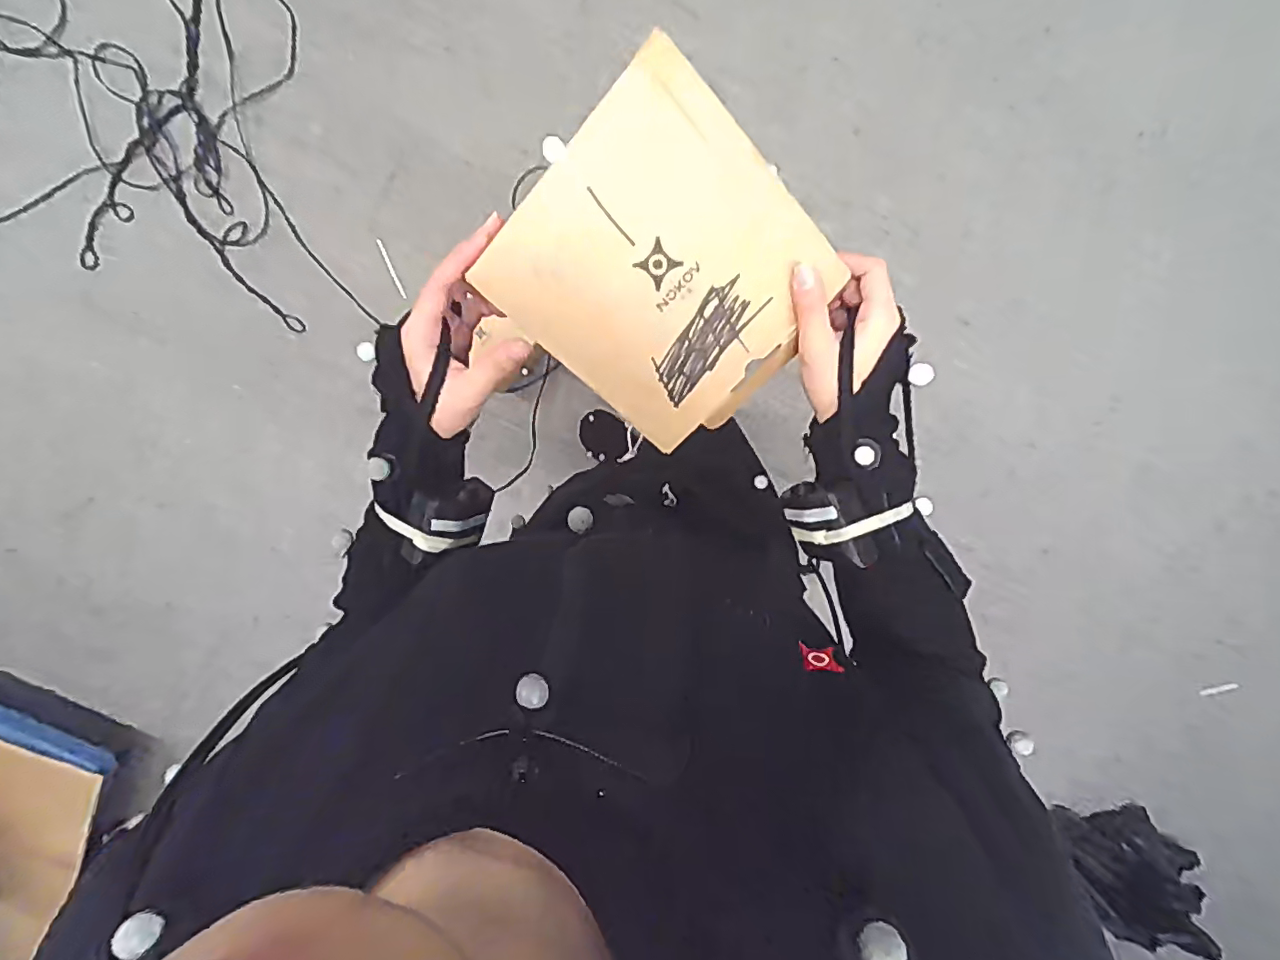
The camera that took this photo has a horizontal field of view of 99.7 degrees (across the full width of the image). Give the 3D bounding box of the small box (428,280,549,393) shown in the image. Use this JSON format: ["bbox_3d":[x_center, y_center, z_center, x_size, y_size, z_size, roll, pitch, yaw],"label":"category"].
[{"bbox_3d":[-0.329,-0.317,1.215,0.168,0.176,0.179,-43,97,8],"label":"small box"}]
